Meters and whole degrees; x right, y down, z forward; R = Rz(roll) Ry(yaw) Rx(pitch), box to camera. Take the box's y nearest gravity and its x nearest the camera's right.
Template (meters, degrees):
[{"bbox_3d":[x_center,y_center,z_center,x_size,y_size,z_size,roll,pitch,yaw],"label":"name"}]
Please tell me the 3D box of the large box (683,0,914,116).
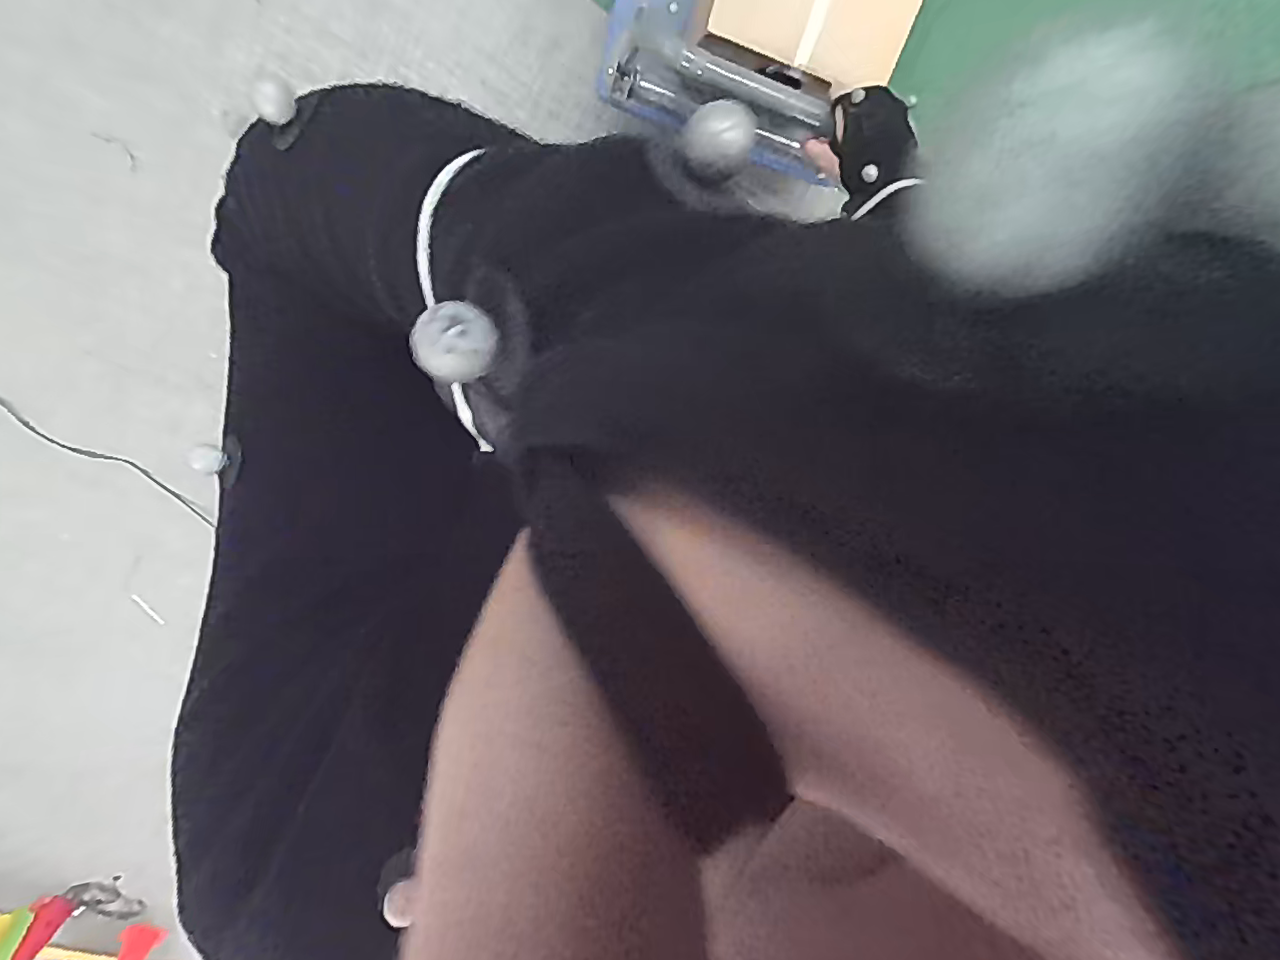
[{"bbox_3d":[0.290,-0.908,0.918,0.320,0.320,0.408,13,117,-12],"label":"large box"}]
